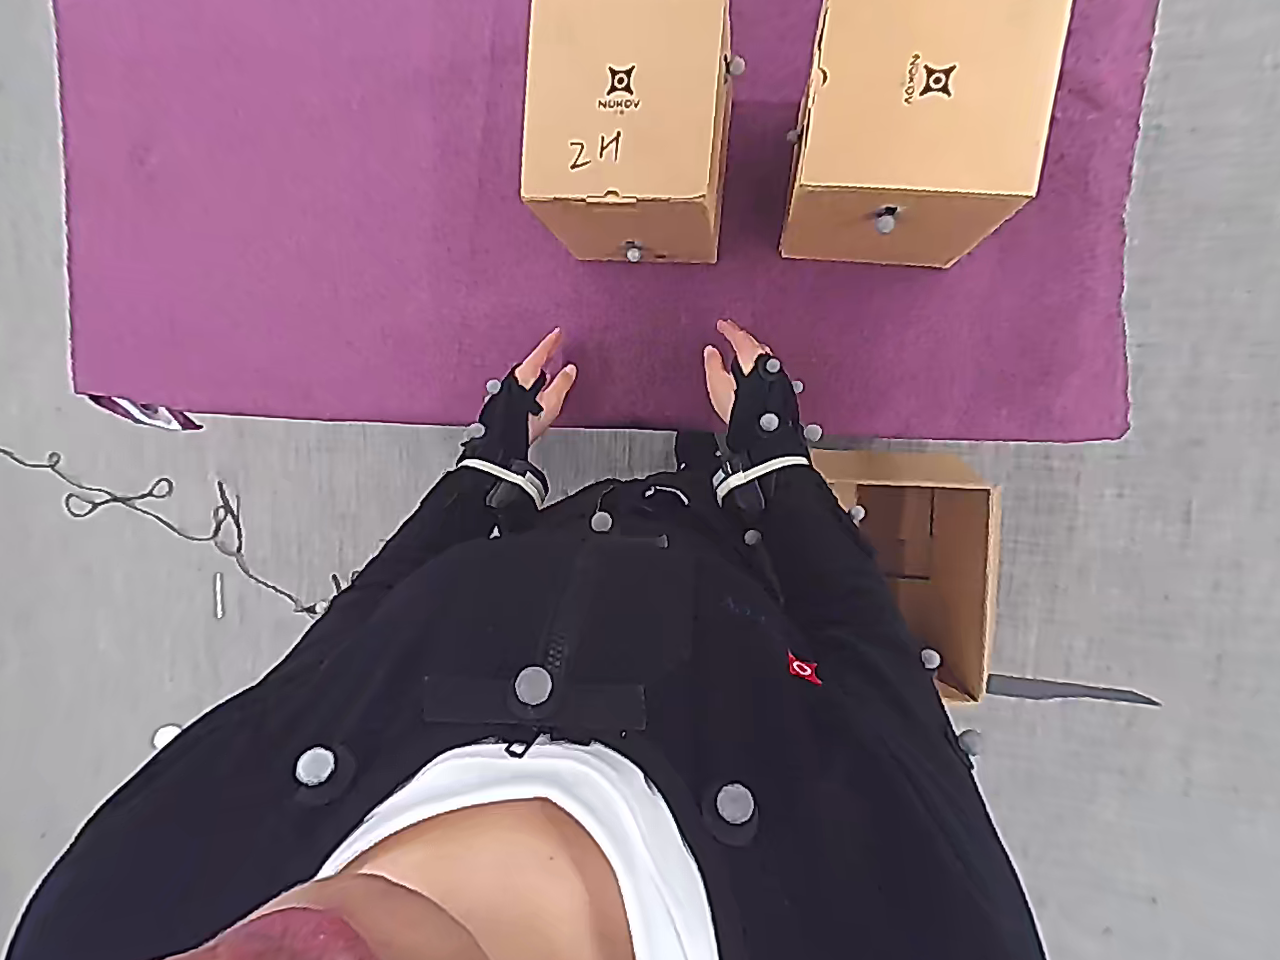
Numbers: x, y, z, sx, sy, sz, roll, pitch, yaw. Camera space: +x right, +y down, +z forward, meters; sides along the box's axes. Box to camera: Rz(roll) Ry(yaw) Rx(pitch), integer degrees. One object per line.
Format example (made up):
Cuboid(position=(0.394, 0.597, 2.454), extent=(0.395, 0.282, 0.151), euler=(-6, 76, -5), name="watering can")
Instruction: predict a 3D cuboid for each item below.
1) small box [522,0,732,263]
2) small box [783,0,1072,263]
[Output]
Cuboid(position=(-0.001, -0.331, 0.529), extent=(0.168, 0.176, 0.179), euler=(6, 95, 10), name="small box")
Cuboid(position=(0.236, -0.309, 0.491), extent=(0.179, 0.176, 0.168), euler=(8, 95, 10), name="small box")
